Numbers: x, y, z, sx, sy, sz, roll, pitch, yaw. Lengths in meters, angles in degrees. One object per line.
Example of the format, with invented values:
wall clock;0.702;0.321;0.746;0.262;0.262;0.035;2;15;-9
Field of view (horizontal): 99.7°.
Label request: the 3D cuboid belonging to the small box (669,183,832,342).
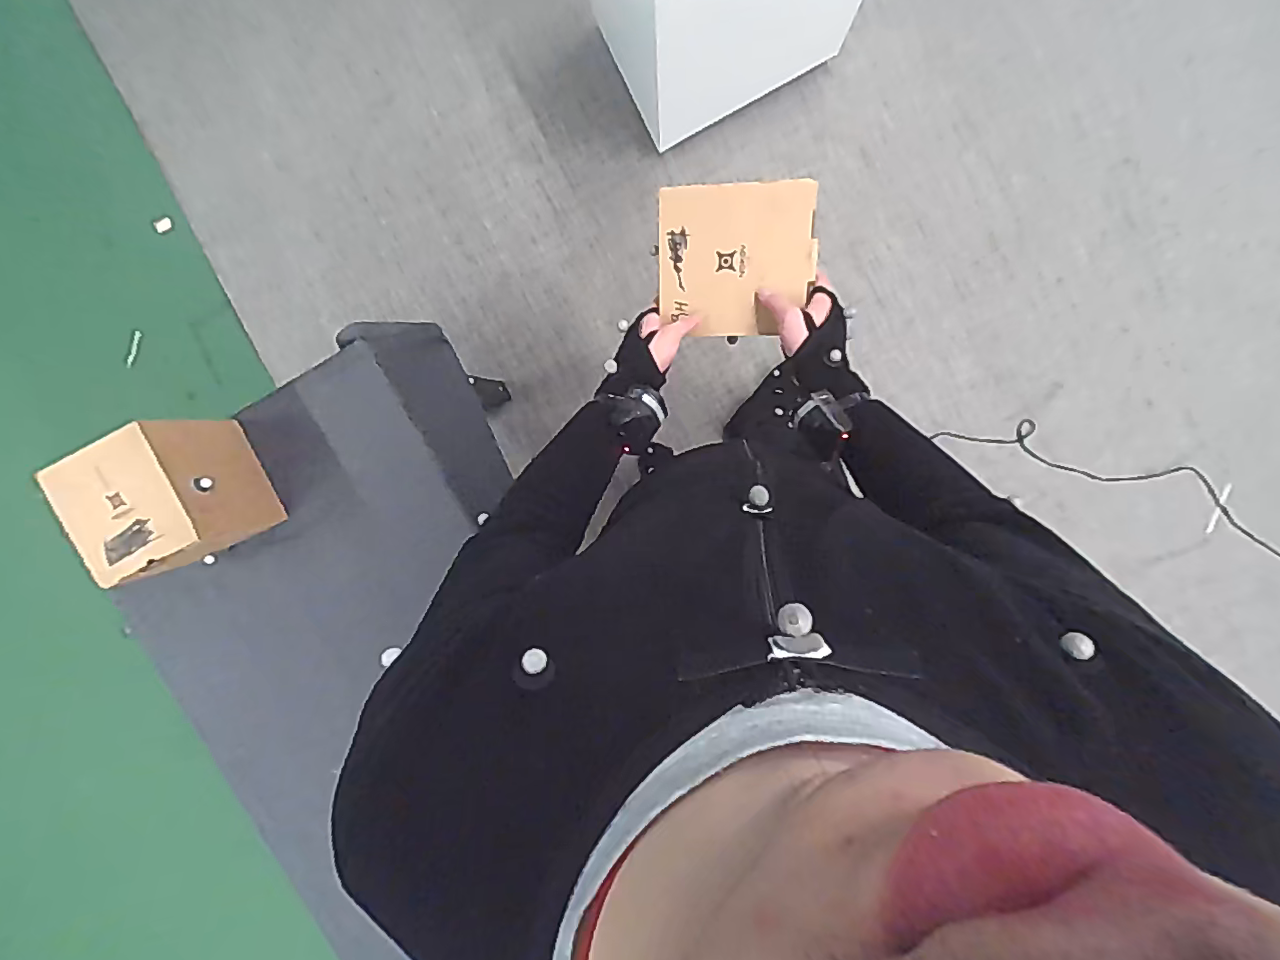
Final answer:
small box;0.127;-0.263;0.680;0.179;0.176;0.168;1;106;7
